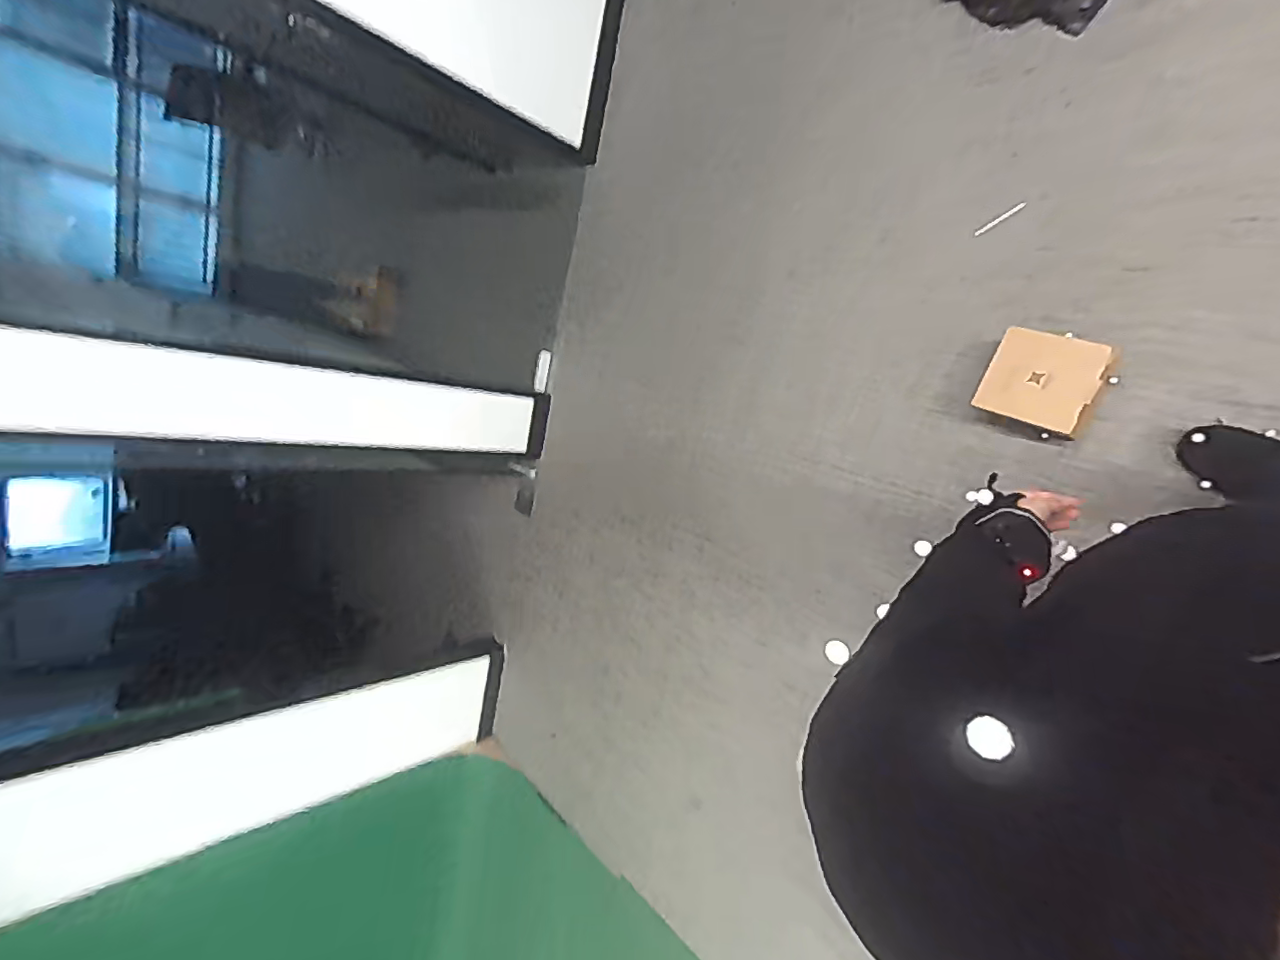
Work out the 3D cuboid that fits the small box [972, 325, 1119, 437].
[{"bbox_3d":[0.803,-0.190,1.067,0.179,0.176,0.168,31,109,40],"label":"small box"}]
